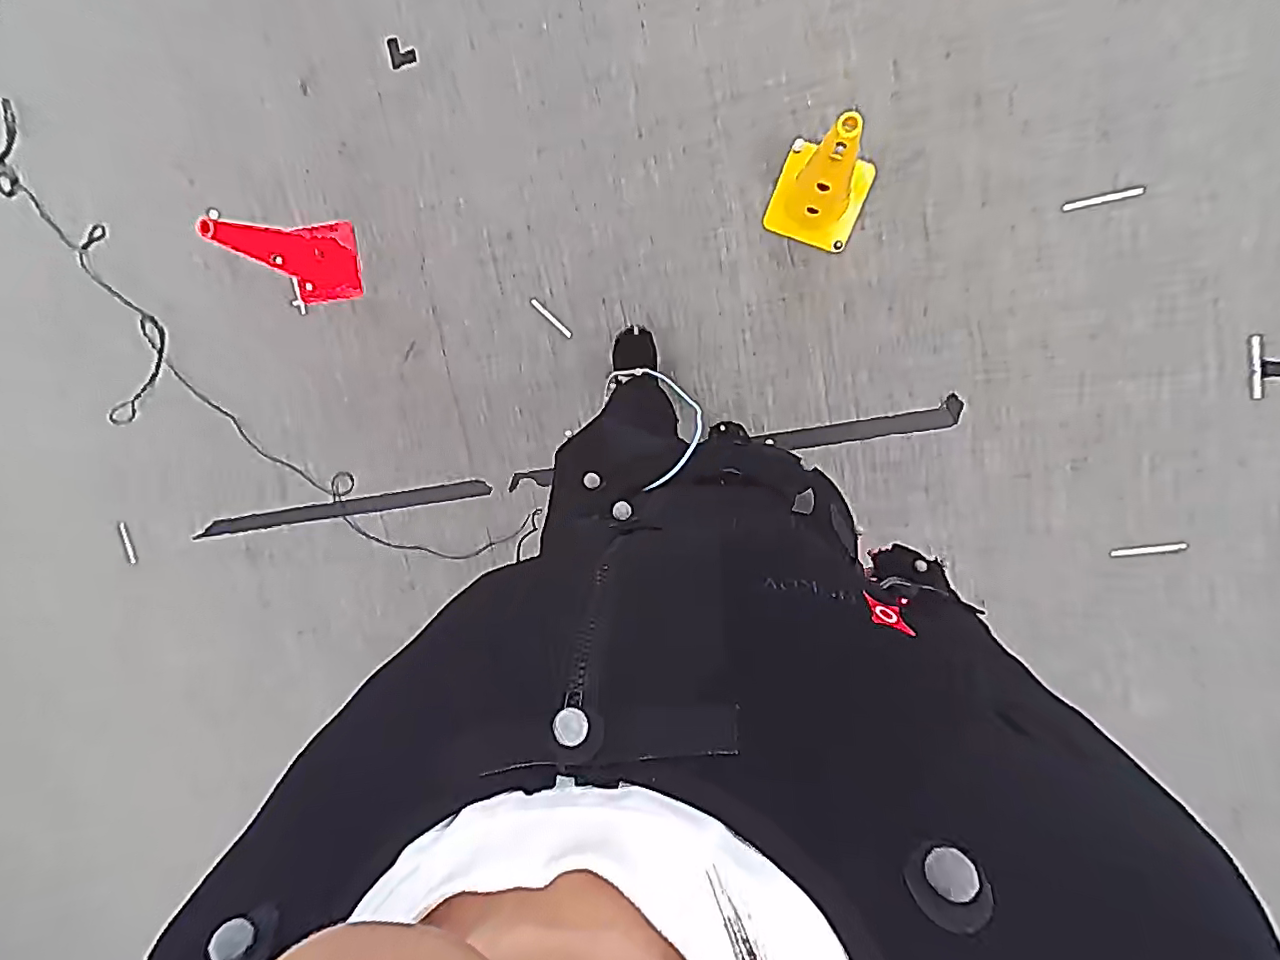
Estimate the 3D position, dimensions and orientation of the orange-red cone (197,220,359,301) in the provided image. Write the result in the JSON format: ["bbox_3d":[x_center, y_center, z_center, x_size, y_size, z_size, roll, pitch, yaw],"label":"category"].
[{"bbox_3d":[-0.895,-0.566,1.317,0.199,0.360,0.198,-2,100,9],"label":"orange-red cone"}]
